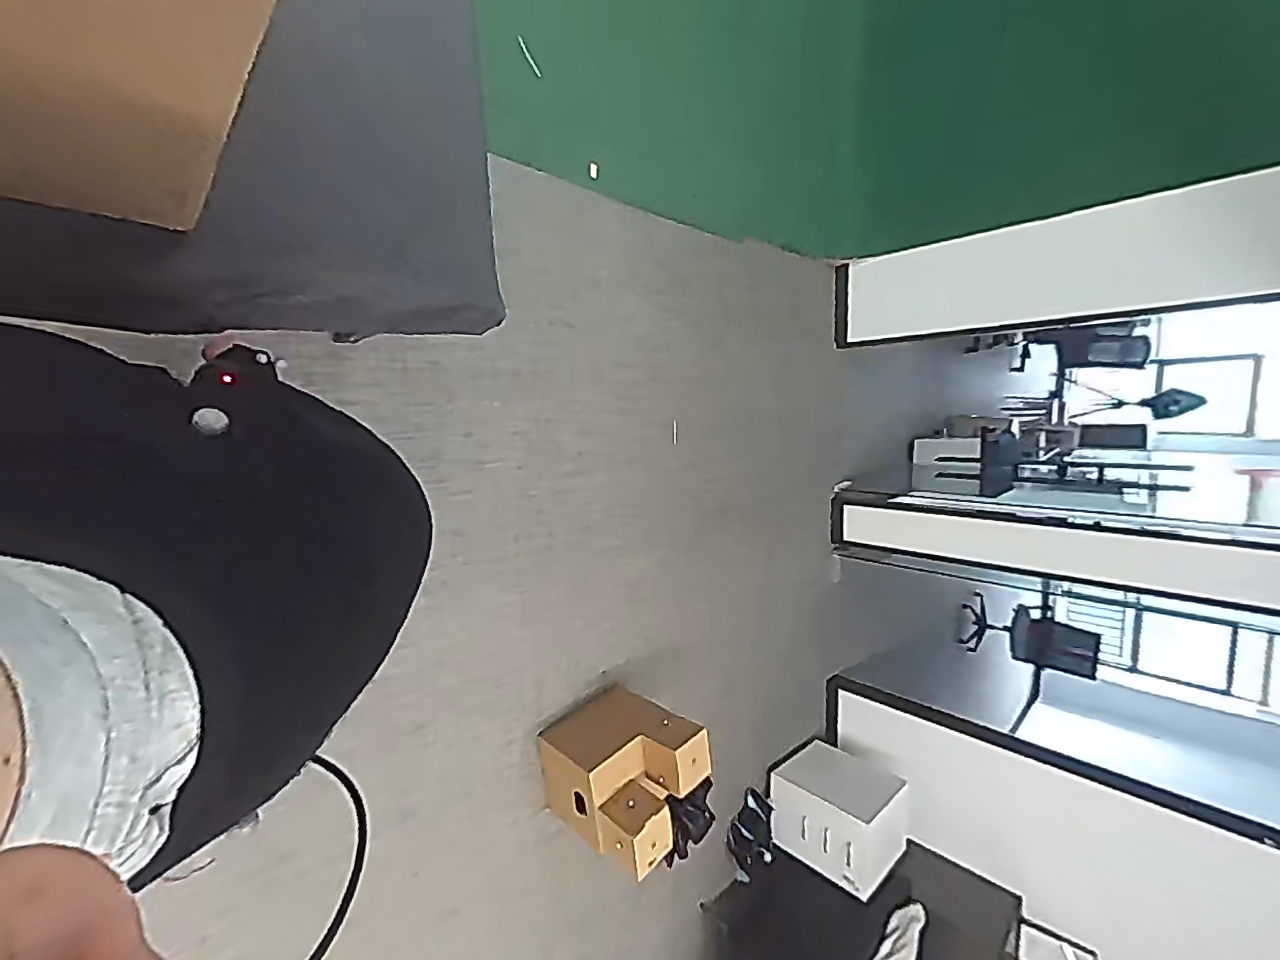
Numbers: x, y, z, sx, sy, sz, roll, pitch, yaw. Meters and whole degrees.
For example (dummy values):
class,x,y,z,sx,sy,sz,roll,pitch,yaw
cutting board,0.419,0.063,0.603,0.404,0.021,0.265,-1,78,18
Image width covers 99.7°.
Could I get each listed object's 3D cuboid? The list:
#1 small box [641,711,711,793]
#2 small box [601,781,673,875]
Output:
class,x,y,z,sx,sy,sz,roll,pitch,yaw
small box,0.125,0.948,1.902,0.168,0.176,0.179,-16,101,-43
small box,-0.013,1.132,1.783,0.168,0.176,0.179,-20,109,-41
